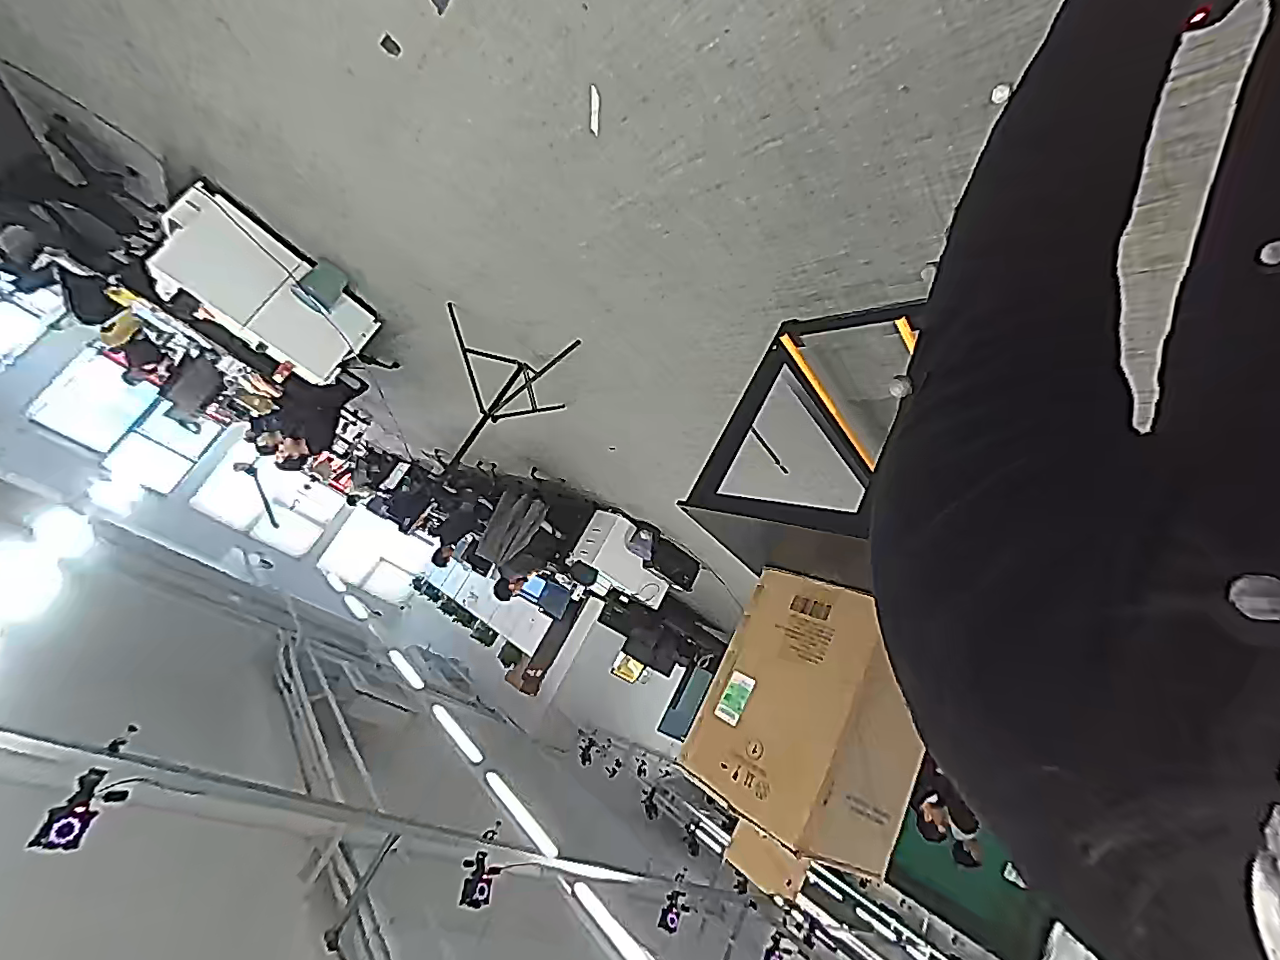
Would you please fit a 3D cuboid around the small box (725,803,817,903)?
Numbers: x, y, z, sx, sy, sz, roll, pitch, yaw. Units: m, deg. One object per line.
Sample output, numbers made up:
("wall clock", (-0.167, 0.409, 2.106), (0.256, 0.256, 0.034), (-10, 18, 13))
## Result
("small box", (0.392, 1.093, 1.592), (0.168, 0.176, 0.179), (11, 153, 52))
